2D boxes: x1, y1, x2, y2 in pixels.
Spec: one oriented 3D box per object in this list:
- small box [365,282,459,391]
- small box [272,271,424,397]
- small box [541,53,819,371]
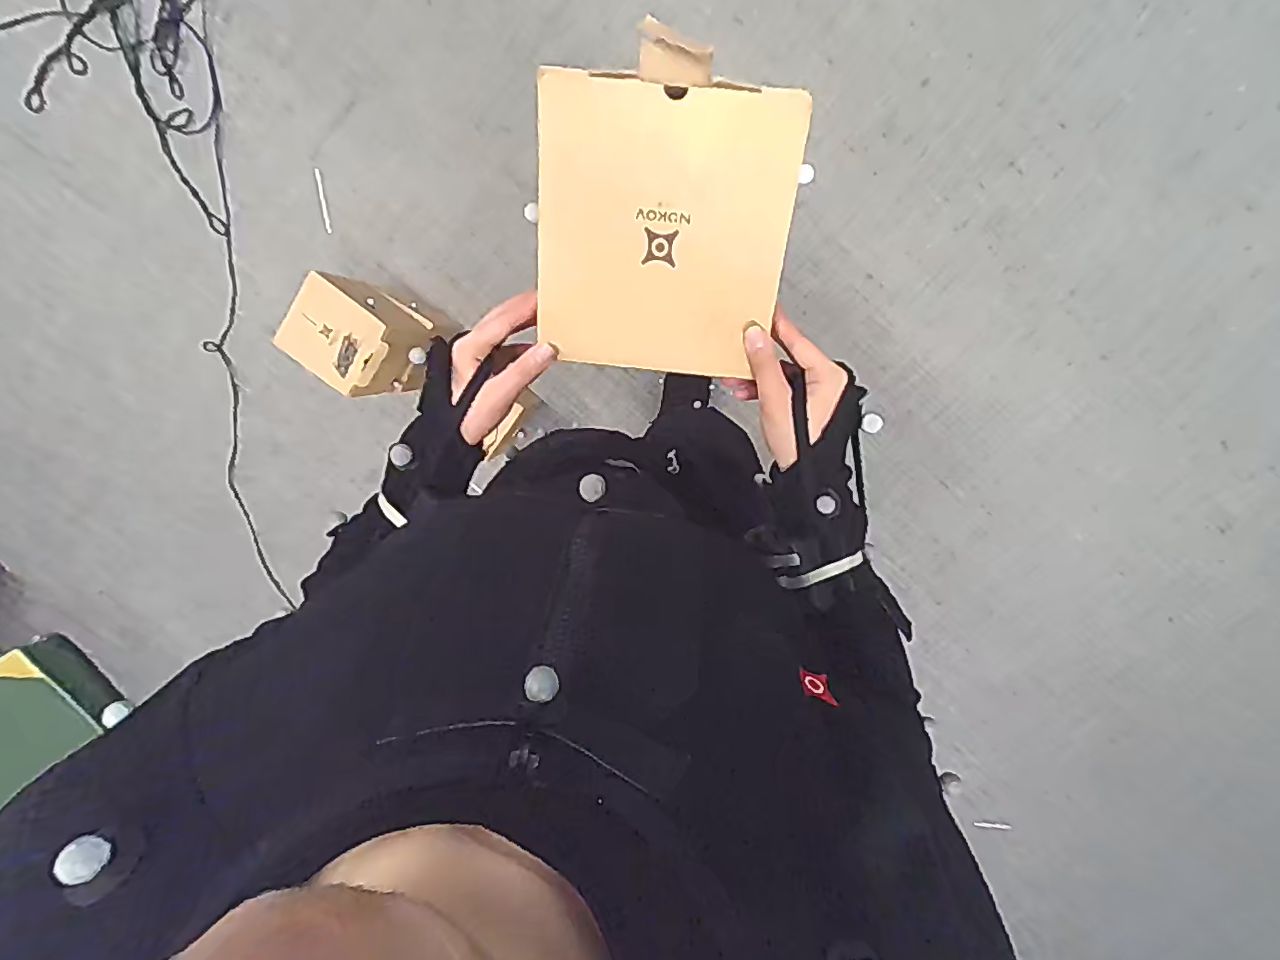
[{"bbox_3d":[-0.548,-0.325,1.246,0.168,0.176,0.179,32,104,-3],"label":"small box"},{"bbox_3d":[-0.573,-0.289,1.086,0.179,0.176,0.168,37,103,-4],"label":"small box"},{"bbox_3d":[0.022,-0.197,0.423,0.168,0.176,0.179,6,115,1],"label":"small box"}]
